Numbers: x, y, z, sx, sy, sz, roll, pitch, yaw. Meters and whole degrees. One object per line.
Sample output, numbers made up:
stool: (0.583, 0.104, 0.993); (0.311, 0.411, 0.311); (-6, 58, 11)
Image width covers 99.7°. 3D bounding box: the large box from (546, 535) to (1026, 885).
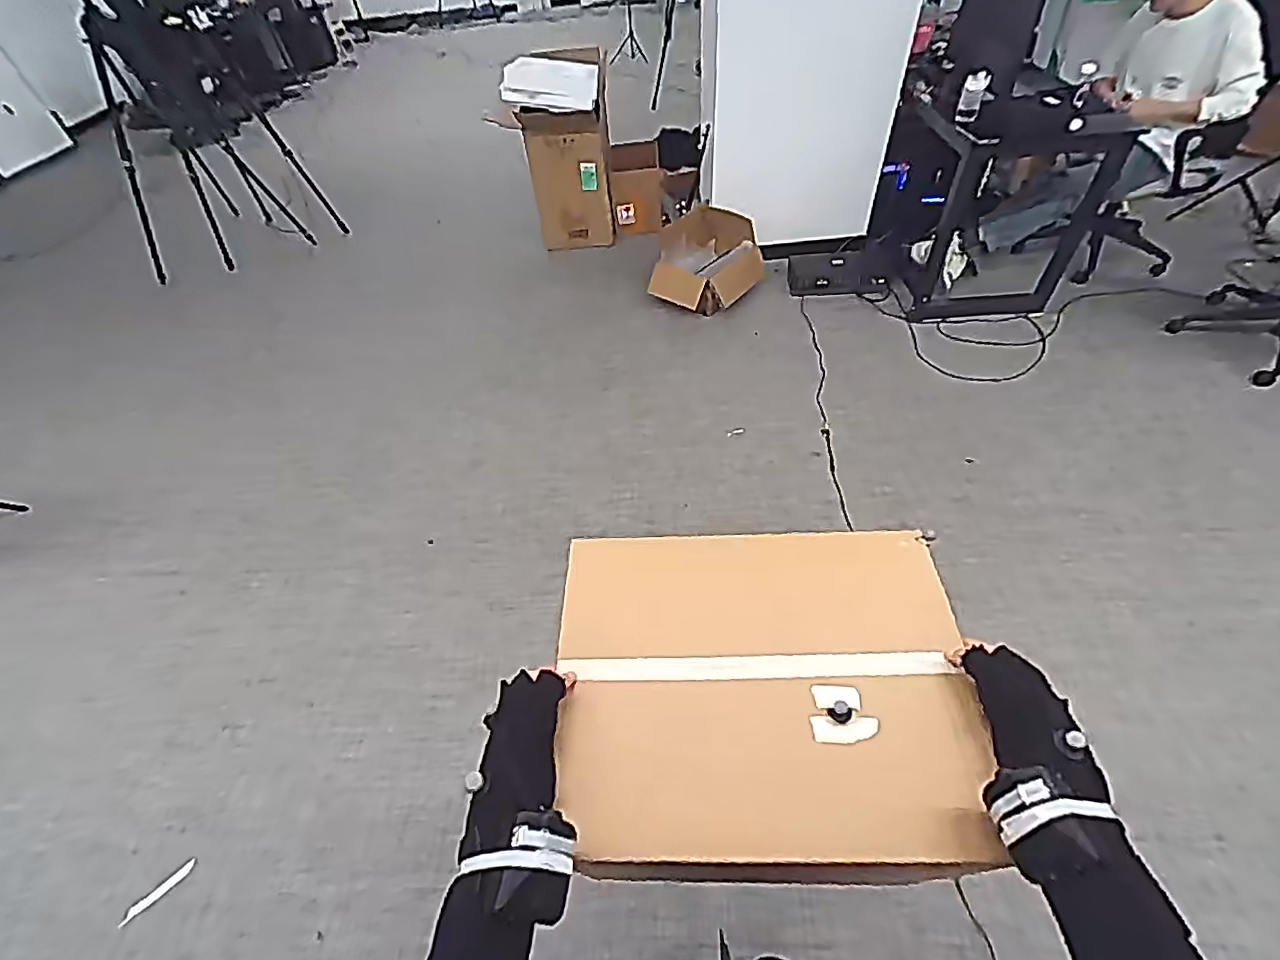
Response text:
large box: (0.124, 0.284, 0.653); (0.408, 0.320, 0.320); (-2, 51, 3)
